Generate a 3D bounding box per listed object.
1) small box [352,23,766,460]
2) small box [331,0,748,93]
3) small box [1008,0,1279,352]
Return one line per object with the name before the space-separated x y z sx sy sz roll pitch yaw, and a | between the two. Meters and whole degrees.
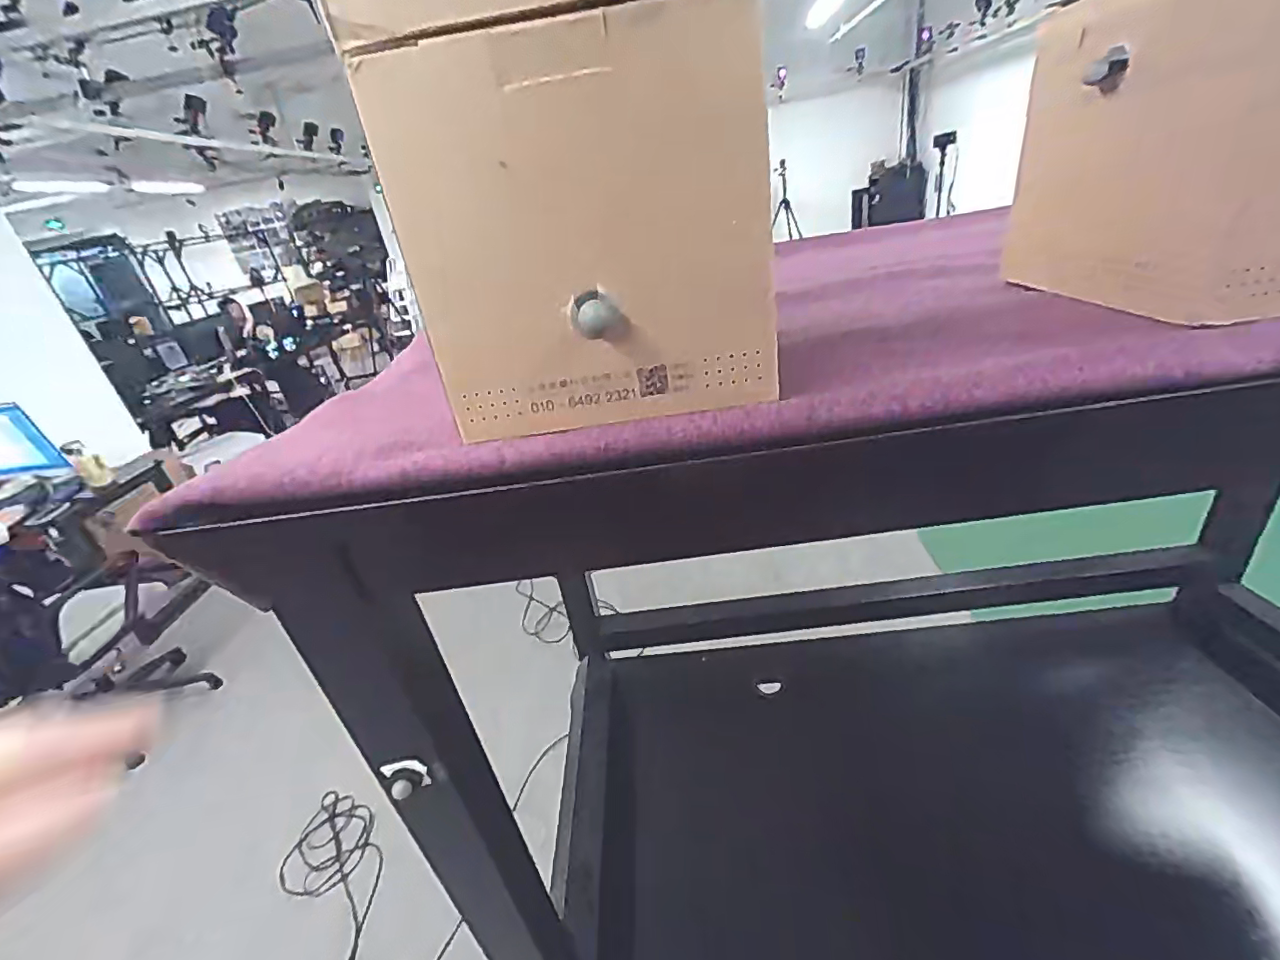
small box | -0.024 -0.127 0.320 0.168 0.176 0.179 -8 27 5
small box | -0.047 -0.269 0.245 0.168 0.176 0.179 -7 28 7
small box | 0.345 -0.182 0.303 0.168 0.176 0.179 -7 29 6
